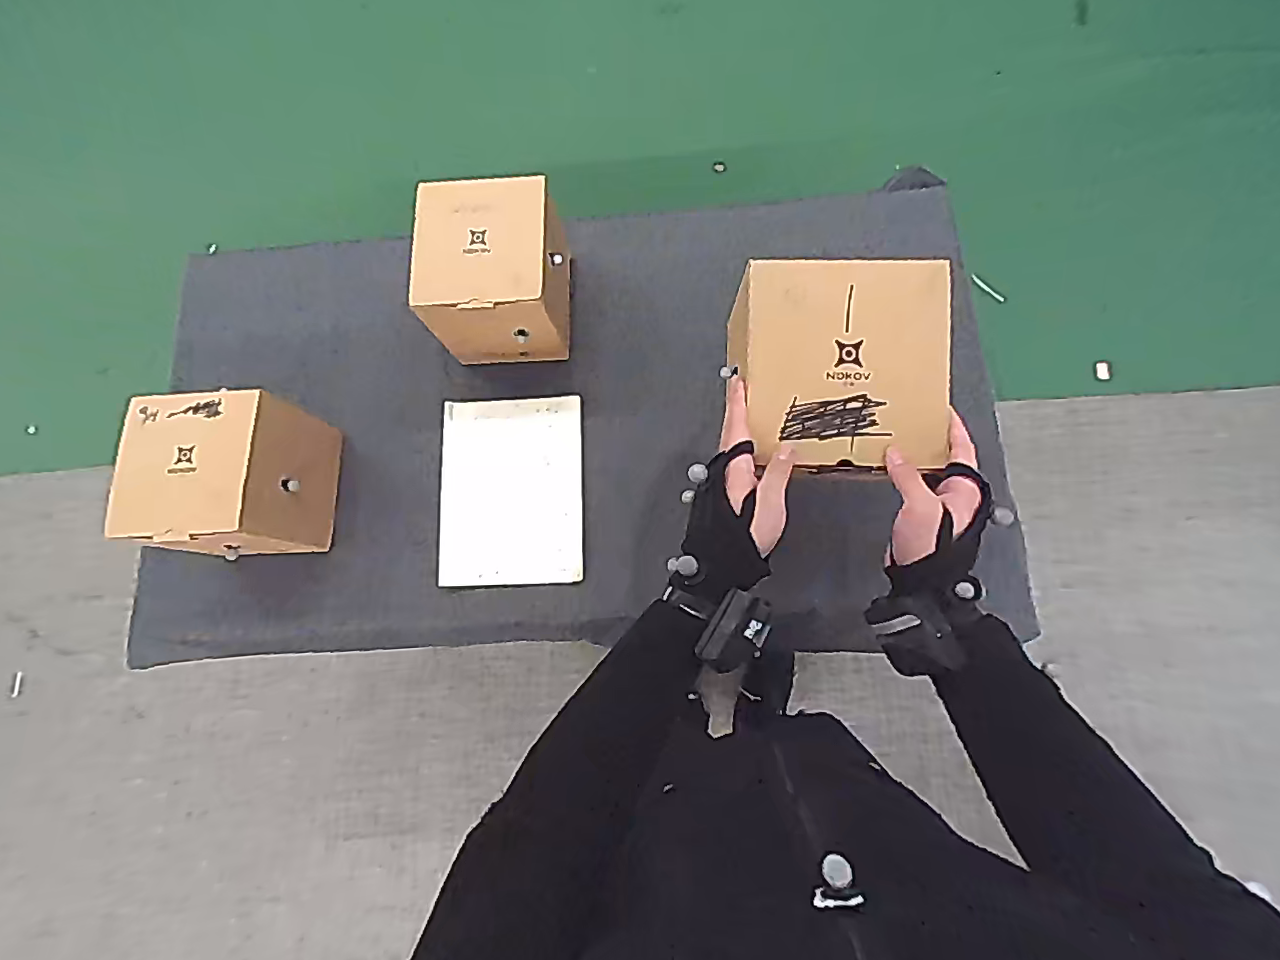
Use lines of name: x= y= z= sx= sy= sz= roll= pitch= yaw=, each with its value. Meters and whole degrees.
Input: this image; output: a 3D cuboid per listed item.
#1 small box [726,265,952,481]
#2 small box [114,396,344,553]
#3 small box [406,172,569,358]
small box: x=0.175 y=-0.089 z=0.524 sx=0.168 sy=0.176 sz=0.179 roll=1 pitch=88 yaw=3
small box: x=-0.518 y=0.004 z=0.709 sx=0.168 sy=0.176 sz=0.179 roll=-2 pitch=77 yaw=3
small box: x=-0.192 y=-0.275 z=0.730 sx=0.168 sy=0.176 sz=0.179 roll=-2 pitch=77 yaw=3
